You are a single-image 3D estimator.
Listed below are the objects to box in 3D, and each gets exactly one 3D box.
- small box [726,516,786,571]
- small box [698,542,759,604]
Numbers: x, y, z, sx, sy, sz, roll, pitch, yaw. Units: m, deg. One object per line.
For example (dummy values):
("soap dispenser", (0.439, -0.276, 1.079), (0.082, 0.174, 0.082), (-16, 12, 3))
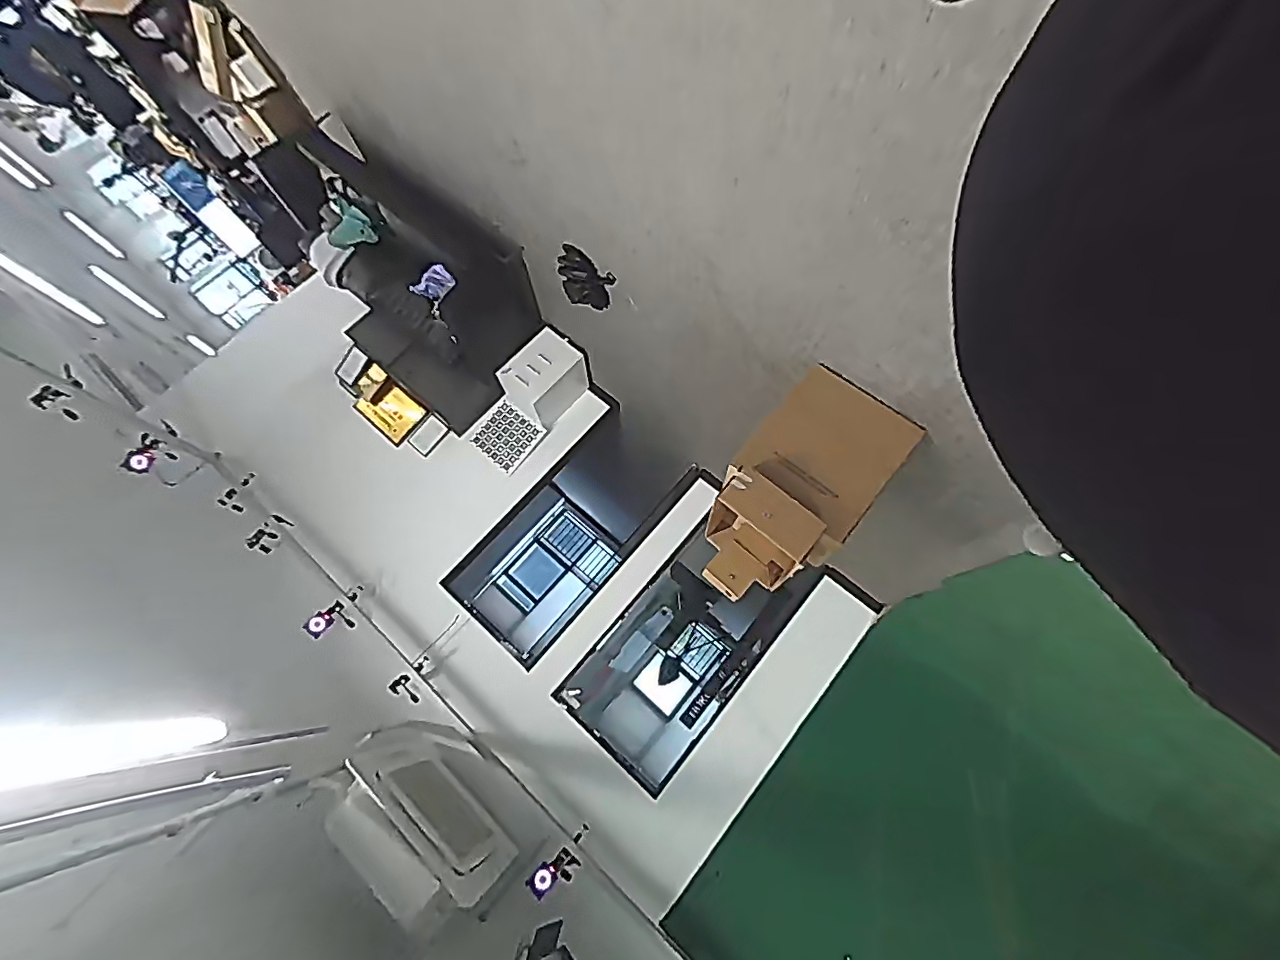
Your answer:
("small box", (0.473, 0.267, 2.239), (0.179, 0.176, 0.168), (41, 168, 16))
("small box", (0.360, 0.380, 2.199), (0.179, 0.176, 0.168), (42, 167, 14))
